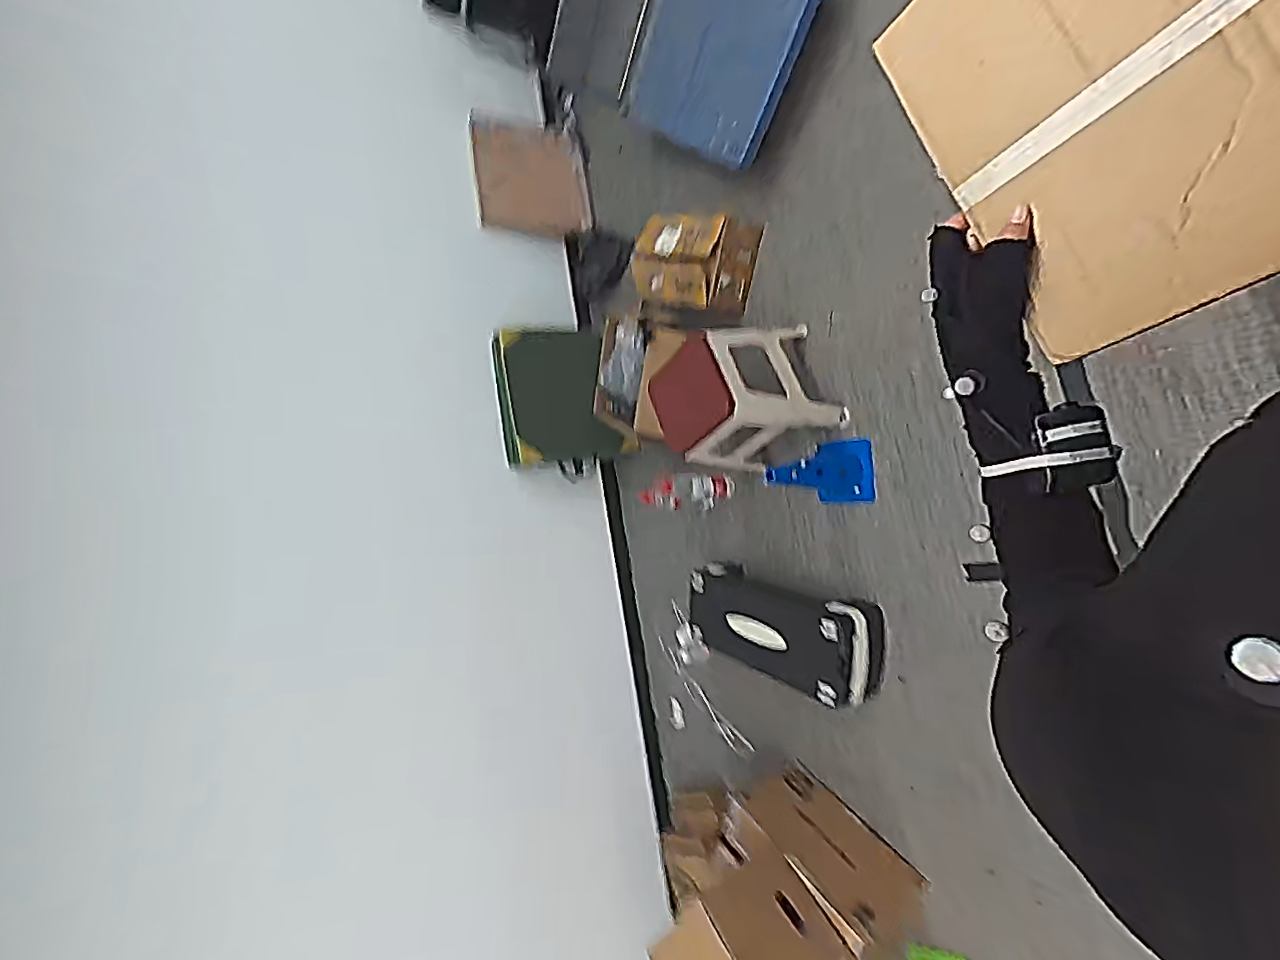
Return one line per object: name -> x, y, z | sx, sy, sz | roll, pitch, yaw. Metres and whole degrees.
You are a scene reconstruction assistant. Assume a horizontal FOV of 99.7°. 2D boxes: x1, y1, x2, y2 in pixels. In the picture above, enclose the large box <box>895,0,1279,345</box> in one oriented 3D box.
large box -> 0.487, -0.343, 0.380 | 0.408, 0.320, 0.320 | -31, 82, 52
